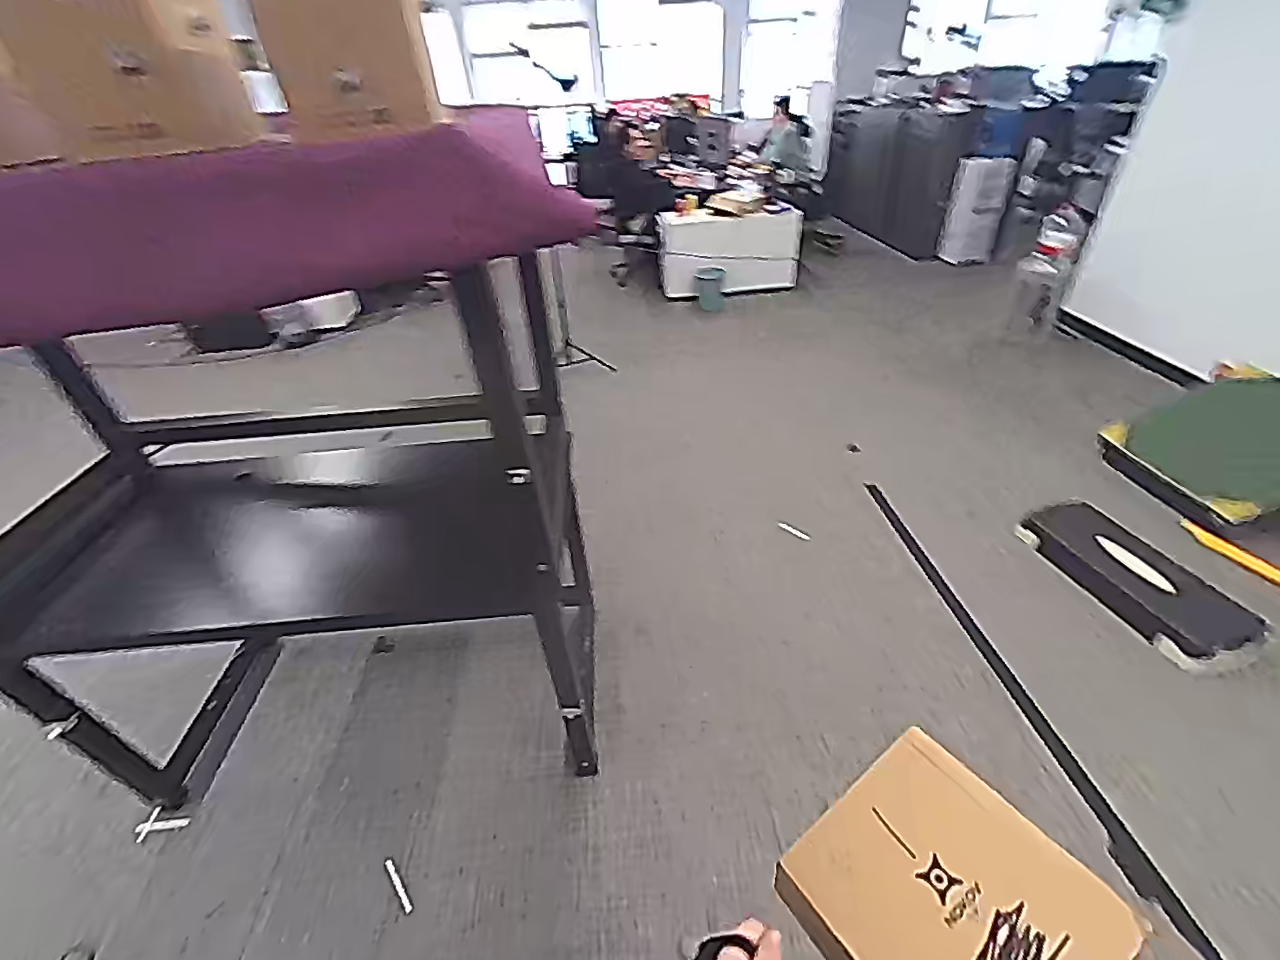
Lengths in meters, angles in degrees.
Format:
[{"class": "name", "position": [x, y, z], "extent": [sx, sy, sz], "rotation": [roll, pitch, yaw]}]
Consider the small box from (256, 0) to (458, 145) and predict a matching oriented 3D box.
[{"class": "small box", "position": [-0.327, -0.508, 0.649], "extent": [0.168, 0.176, 0.179], "rotation": [-10, 36, -6]}]

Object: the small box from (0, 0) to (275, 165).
[{"class": "small box", "position": [-0.591, -0.490, 0.660], "extent": [0.168, 0.176, 0.179], "rotation": [-7, 36, -4]}]

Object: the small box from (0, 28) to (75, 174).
[{"class": "small box", "position": [-0.860, -0.462, 0.648], "extent": [0.168, 0.176, 0.179], "rotation": [-11, 37, -9]}]

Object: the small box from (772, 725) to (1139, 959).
[{"class": "small box", "position": [0.228, 0.346, 0.441], "extent": [0.168, 0.176, 0.179], "rotation": [-33, 49, -18]}]
